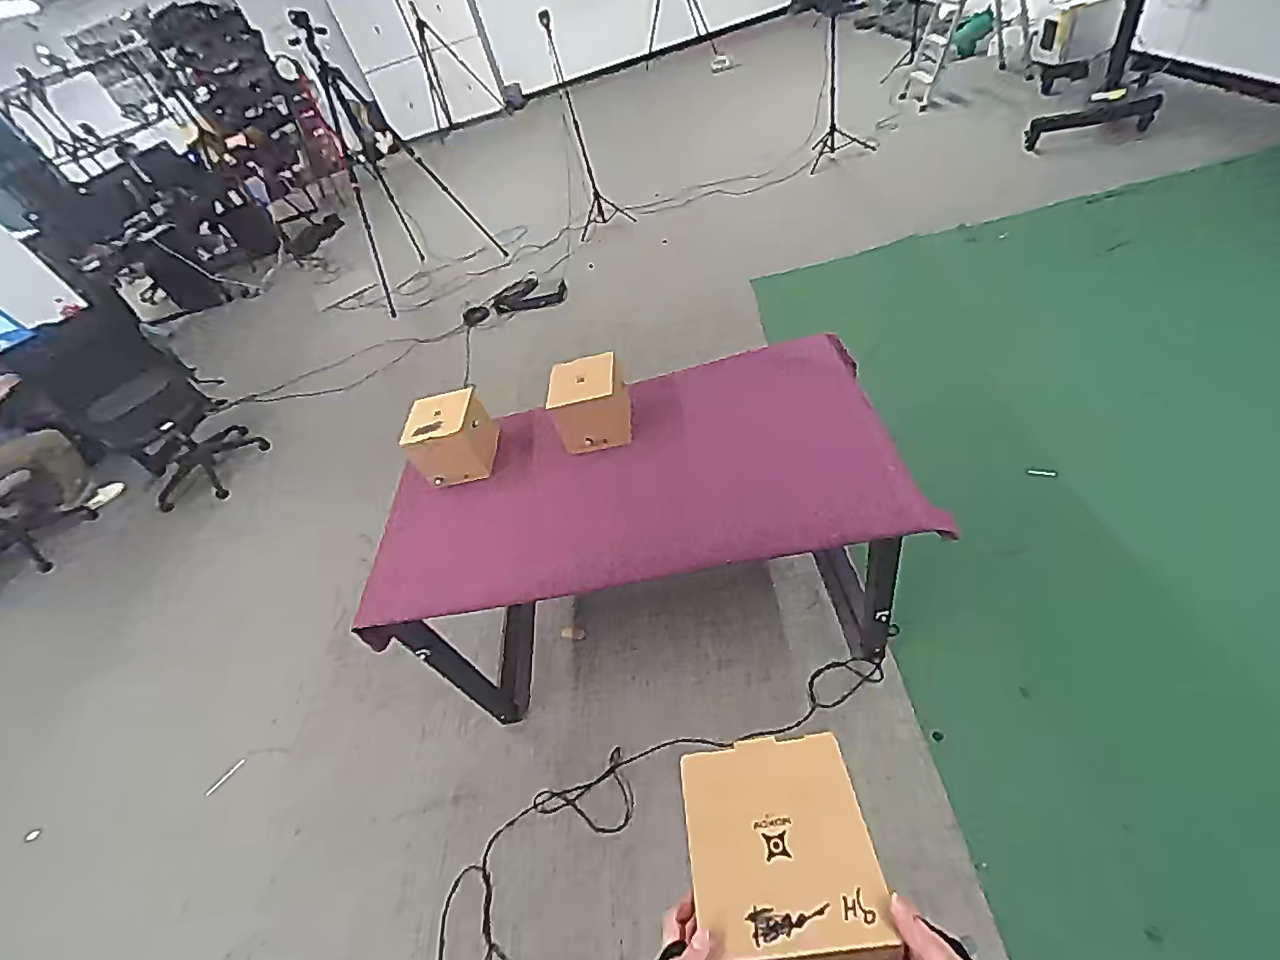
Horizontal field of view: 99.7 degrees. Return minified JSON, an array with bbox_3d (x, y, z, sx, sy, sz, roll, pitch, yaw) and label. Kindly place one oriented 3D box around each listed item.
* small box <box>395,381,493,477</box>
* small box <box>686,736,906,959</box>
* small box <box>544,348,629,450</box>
[{"bbox_3d":[-0.494,-0.123,1.394,0.168,0.176,0.179,-10,48,8],"label":"small box"},{"bbox_3d":[0.147,0.396,0.551,0.168,0.176,0.179,-12,36,5],"label":"small box"},{"bbox_3d":[-0.127,-0.200,1.353,0.168,0.176,0.179,-10,48,10],"label":"small box"}]
